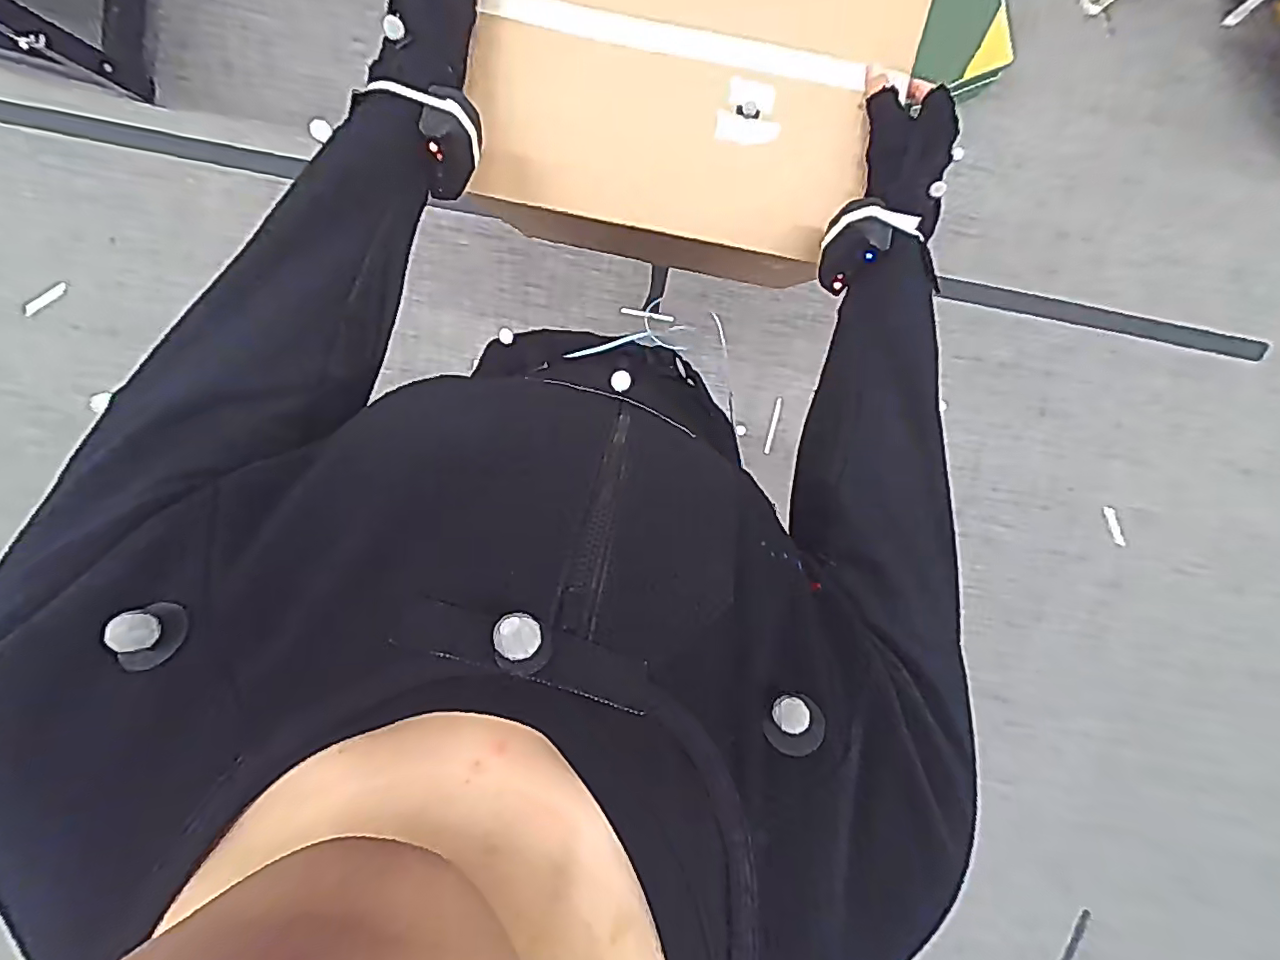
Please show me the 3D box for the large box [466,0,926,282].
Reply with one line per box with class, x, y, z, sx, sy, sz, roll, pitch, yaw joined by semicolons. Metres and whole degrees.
large box;0.049;-0.440;0.639;0.408;0.320;0.320;11;107;-2
